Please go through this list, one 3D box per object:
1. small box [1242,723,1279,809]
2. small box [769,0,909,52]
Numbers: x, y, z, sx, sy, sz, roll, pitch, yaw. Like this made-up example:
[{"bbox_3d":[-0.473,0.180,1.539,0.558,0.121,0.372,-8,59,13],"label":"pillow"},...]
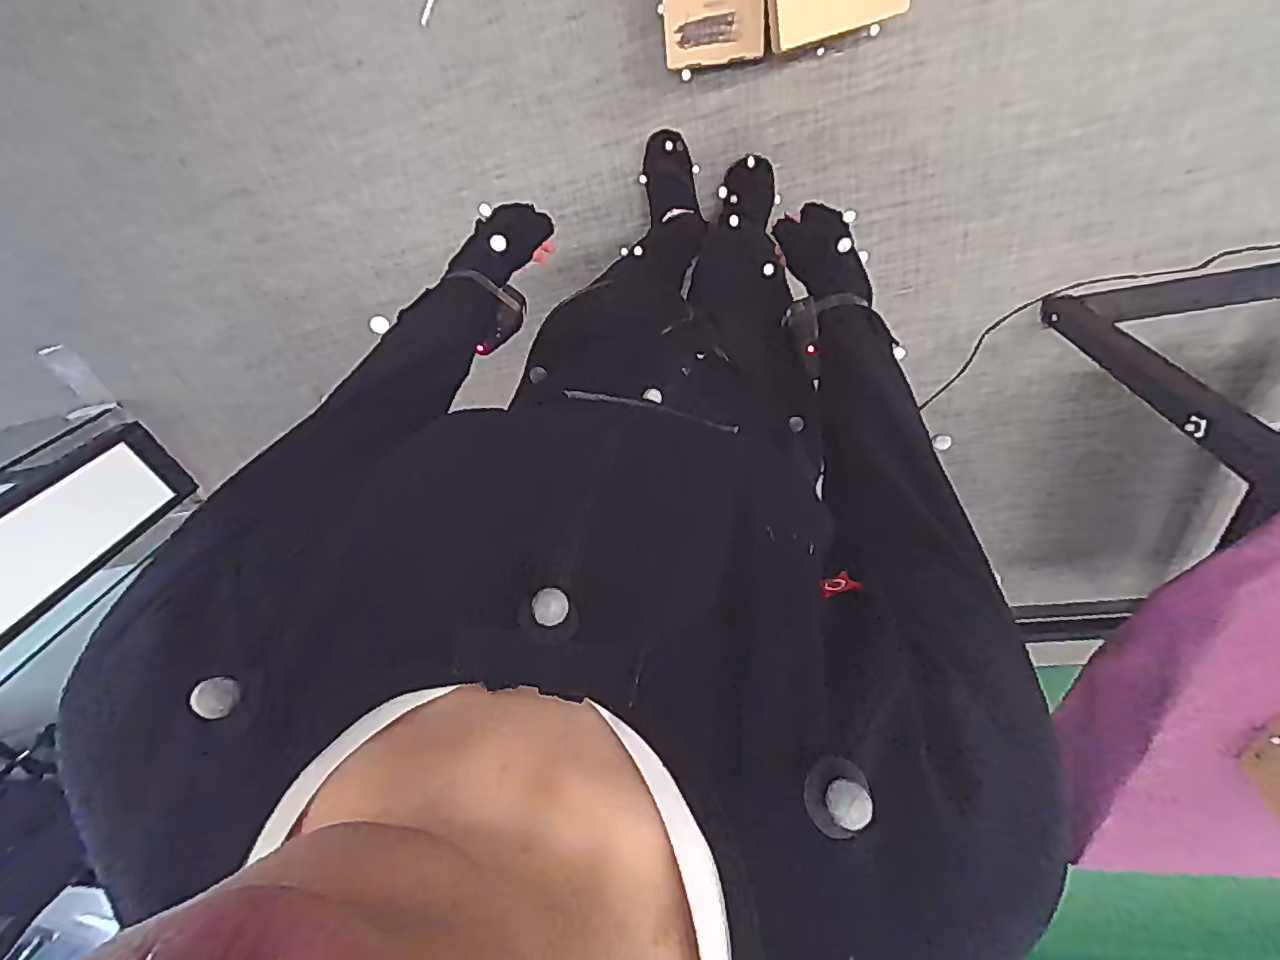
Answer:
[{"bbox_3d":[1.168,0.496,0.879,0.179,0.176,0.168,-6,126,12],"label":"small box"},{"bbox_3d":[0.276,-0.744,0.781,0.179,0.176,0.168,-9,125,14],"label":"small box"}]
